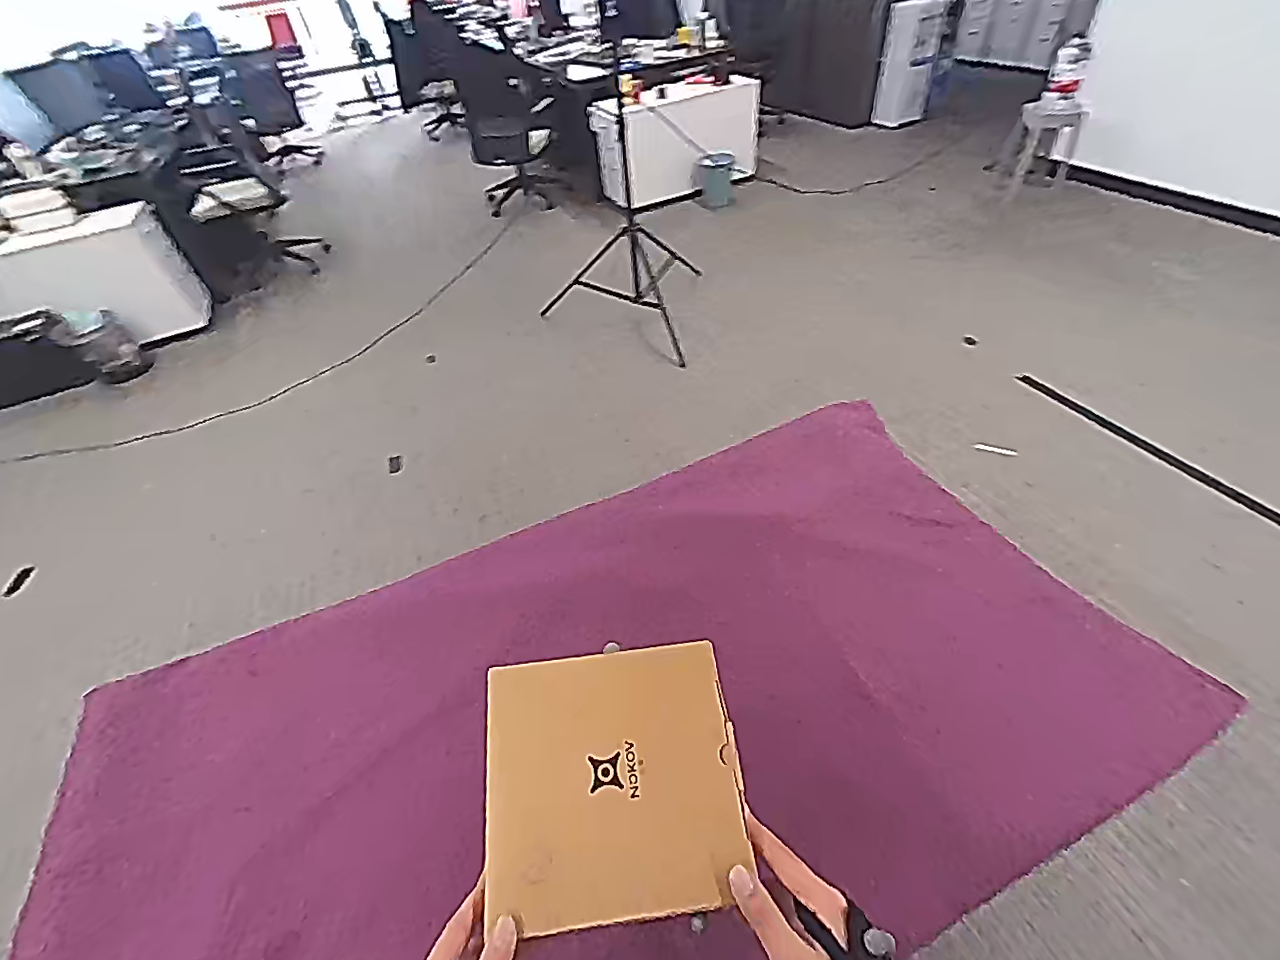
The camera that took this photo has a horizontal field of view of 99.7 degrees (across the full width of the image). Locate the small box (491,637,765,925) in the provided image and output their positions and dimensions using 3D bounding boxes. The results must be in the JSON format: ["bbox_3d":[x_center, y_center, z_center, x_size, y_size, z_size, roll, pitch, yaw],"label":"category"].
[{"bbox_3d":[-0.015,0.243,0.445,0.179,0.176,0.168,-5,57,-5],"label":"small box"}]
